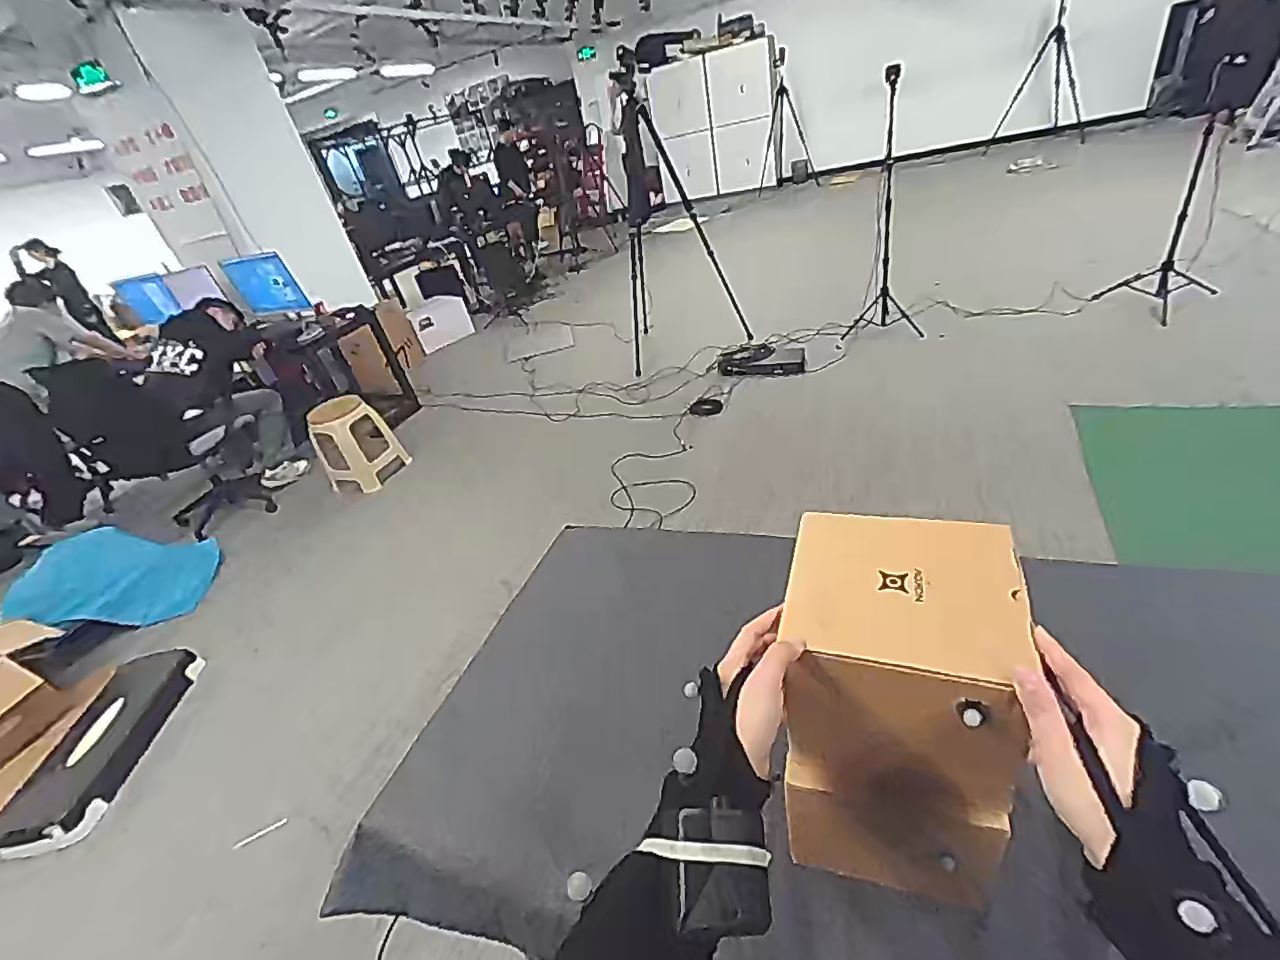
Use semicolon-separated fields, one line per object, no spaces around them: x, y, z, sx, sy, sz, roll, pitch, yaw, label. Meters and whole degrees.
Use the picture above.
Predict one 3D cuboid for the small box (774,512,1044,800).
0.226;0.148;0.482;0.179;0.176;0.168;3;37;24;small box
